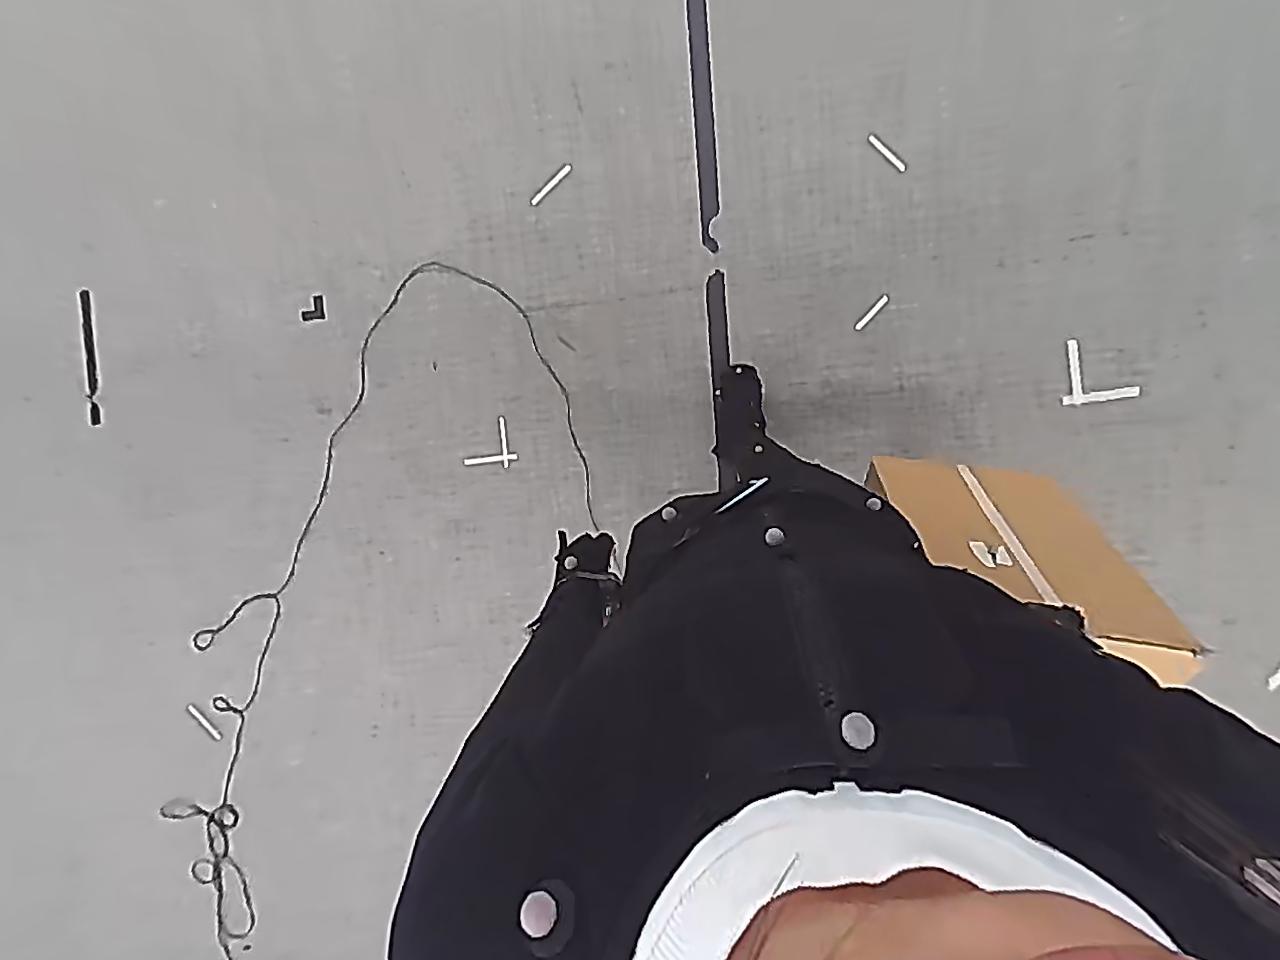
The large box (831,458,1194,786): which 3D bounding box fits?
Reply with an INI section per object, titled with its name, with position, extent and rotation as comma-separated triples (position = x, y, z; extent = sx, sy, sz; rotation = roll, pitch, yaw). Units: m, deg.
[large box]
position = 0.532, 0.209, 0.901
extent = 0.320, 0.408, 0.320
rotation = 6, 124, 7
